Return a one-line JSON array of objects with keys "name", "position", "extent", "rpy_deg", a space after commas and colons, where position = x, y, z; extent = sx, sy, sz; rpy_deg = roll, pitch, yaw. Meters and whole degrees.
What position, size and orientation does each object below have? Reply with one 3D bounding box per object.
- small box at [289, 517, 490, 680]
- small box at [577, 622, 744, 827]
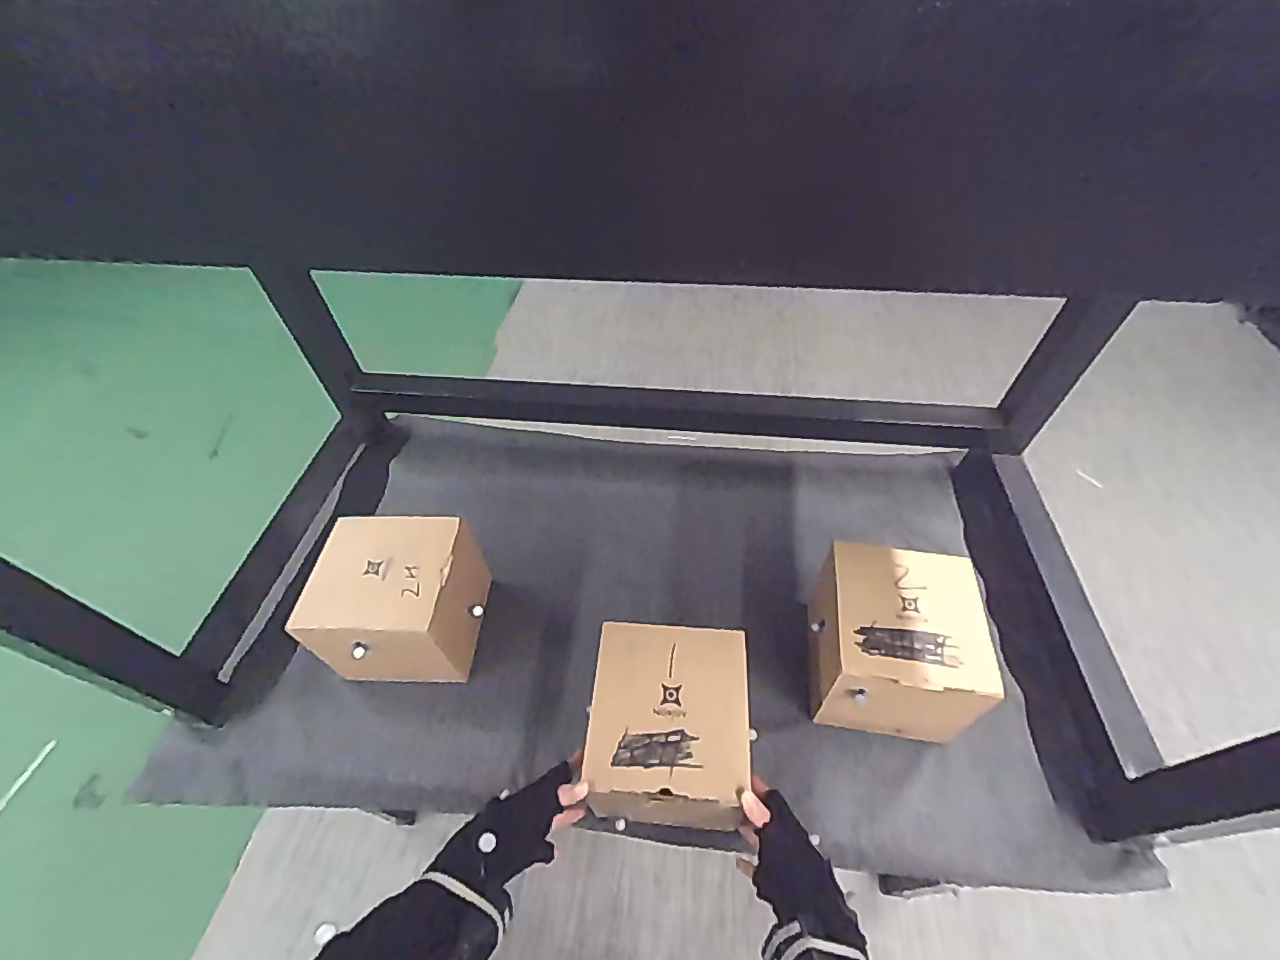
[{"name": "small box", "position": [-0.327, 0.167, 0.750], "extent": [0.179, 0.176, 0.168], "rpy_deg": [1, 50, 3]}, {"name": "small box", "position": [0.030, 0.288, 0.632], "extent": [0.168, 0.176, 0.179], "rpy_deg": [3, 50, 5]}]
